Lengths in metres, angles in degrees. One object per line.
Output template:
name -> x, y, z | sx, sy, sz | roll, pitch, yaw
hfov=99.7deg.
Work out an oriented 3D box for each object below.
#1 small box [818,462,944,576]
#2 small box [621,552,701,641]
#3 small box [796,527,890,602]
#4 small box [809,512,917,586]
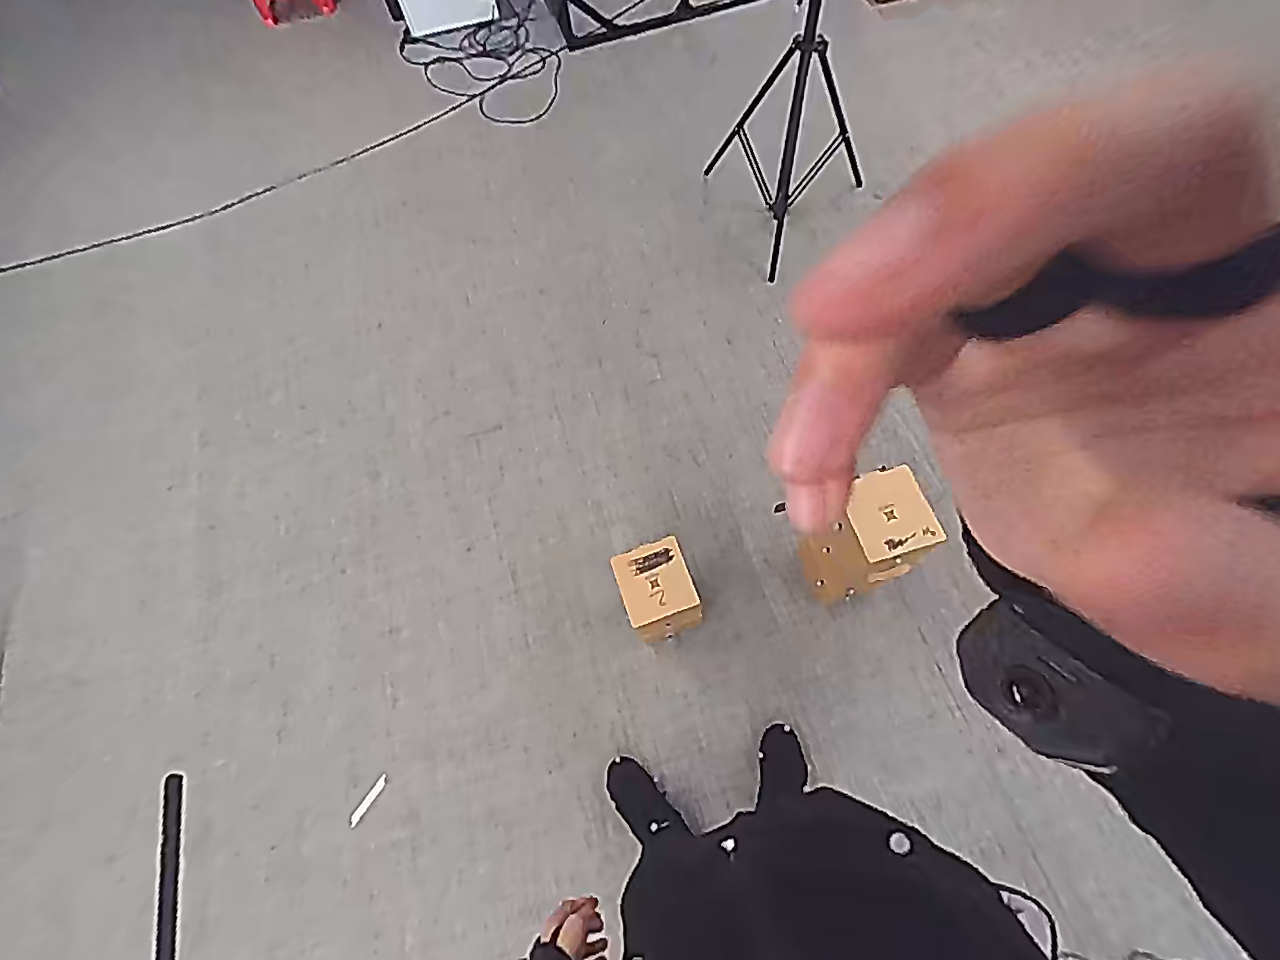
small box -> 0.507, 0.089, 1.169 | 0.168, 0.176, 0.179 | -16, 66, -2
small box -> 0.058, 0.321, 1.470 | 0.168, 0.176, 0.179 | -20, 67, -2
small box -> 0.541, 0.216, 1.470 | 0.168, 0.176, 0.179 | -16, 67, -2
small box -> 0.534, 0.150, 1.320 | 0.168, 0.176, 0.179 | -16, 67, -2
